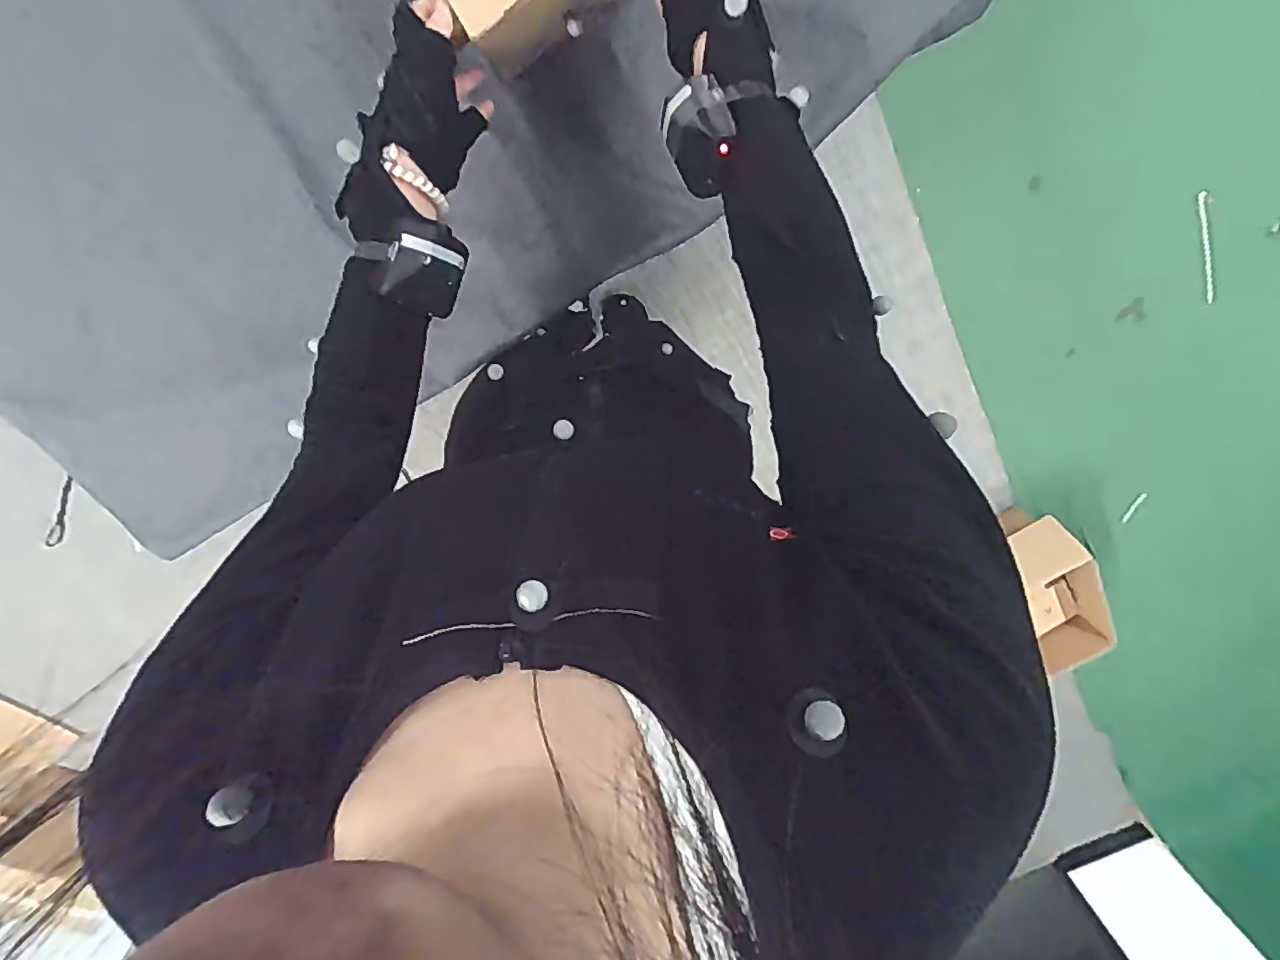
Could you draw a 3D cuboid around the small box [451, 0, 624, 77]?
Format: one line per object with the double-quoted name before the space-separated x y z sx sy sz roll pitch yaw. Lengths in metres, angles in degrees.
"small box" -0.104 -0.469 0.426 0.168 0.176 0.179 -30 115 11
